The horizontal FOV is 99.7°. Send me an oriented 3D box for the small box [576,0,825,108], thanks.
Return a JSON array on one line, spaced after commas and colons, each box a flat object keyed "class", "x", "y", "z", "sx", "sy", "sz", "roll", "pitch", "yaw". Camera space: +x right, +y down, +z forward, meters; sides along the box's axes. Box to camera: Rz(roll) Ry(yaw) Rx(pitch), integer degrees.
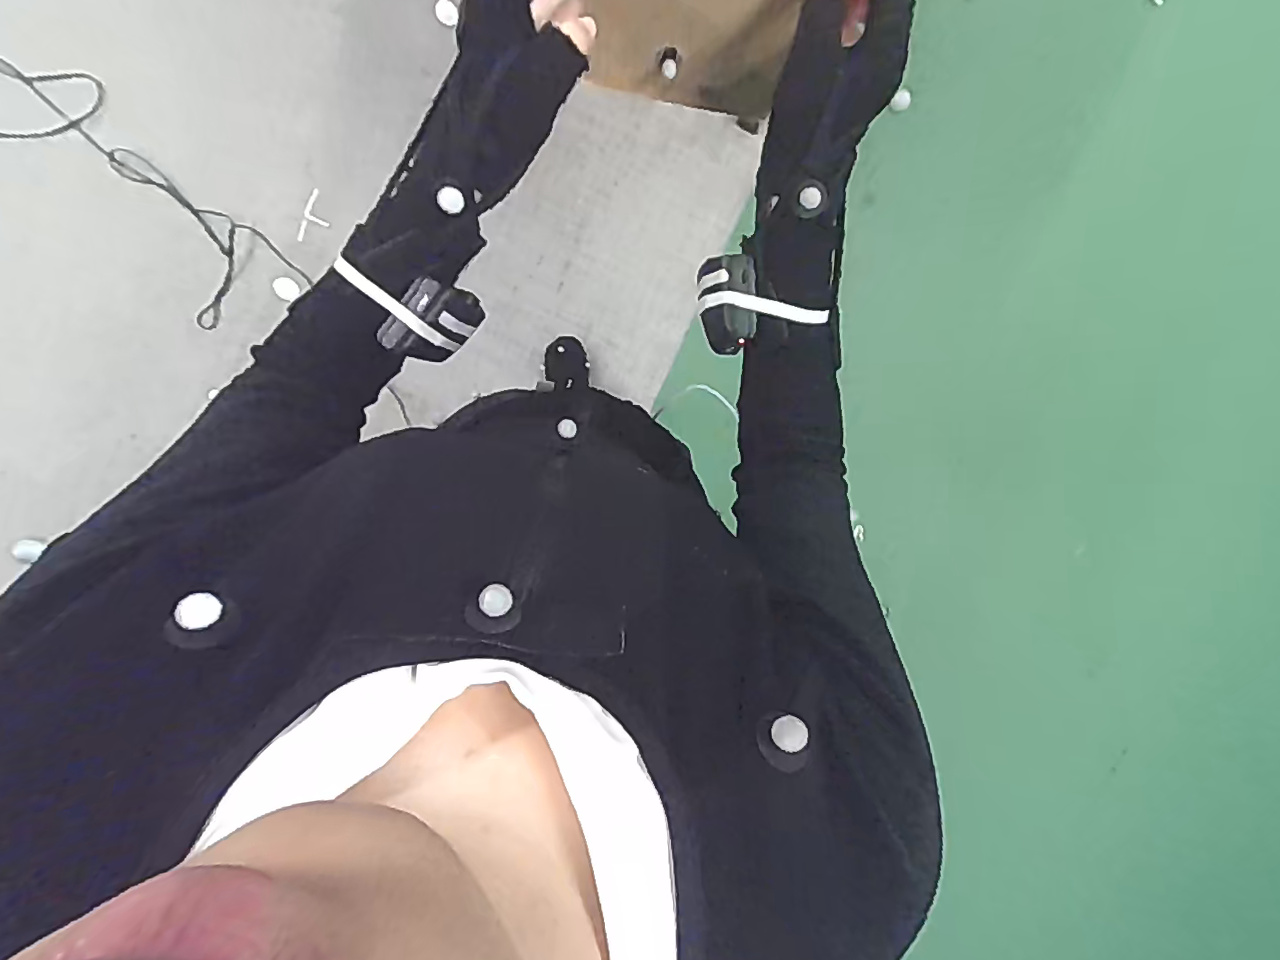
[{"class": "small box", "x": 0.045, "y": -0.409, "z": 0.376, "sx": 0.168, "sy": 0.176, "sz": 0.179, "roll": 6, "pitch": 97, "yaw": -7}]
